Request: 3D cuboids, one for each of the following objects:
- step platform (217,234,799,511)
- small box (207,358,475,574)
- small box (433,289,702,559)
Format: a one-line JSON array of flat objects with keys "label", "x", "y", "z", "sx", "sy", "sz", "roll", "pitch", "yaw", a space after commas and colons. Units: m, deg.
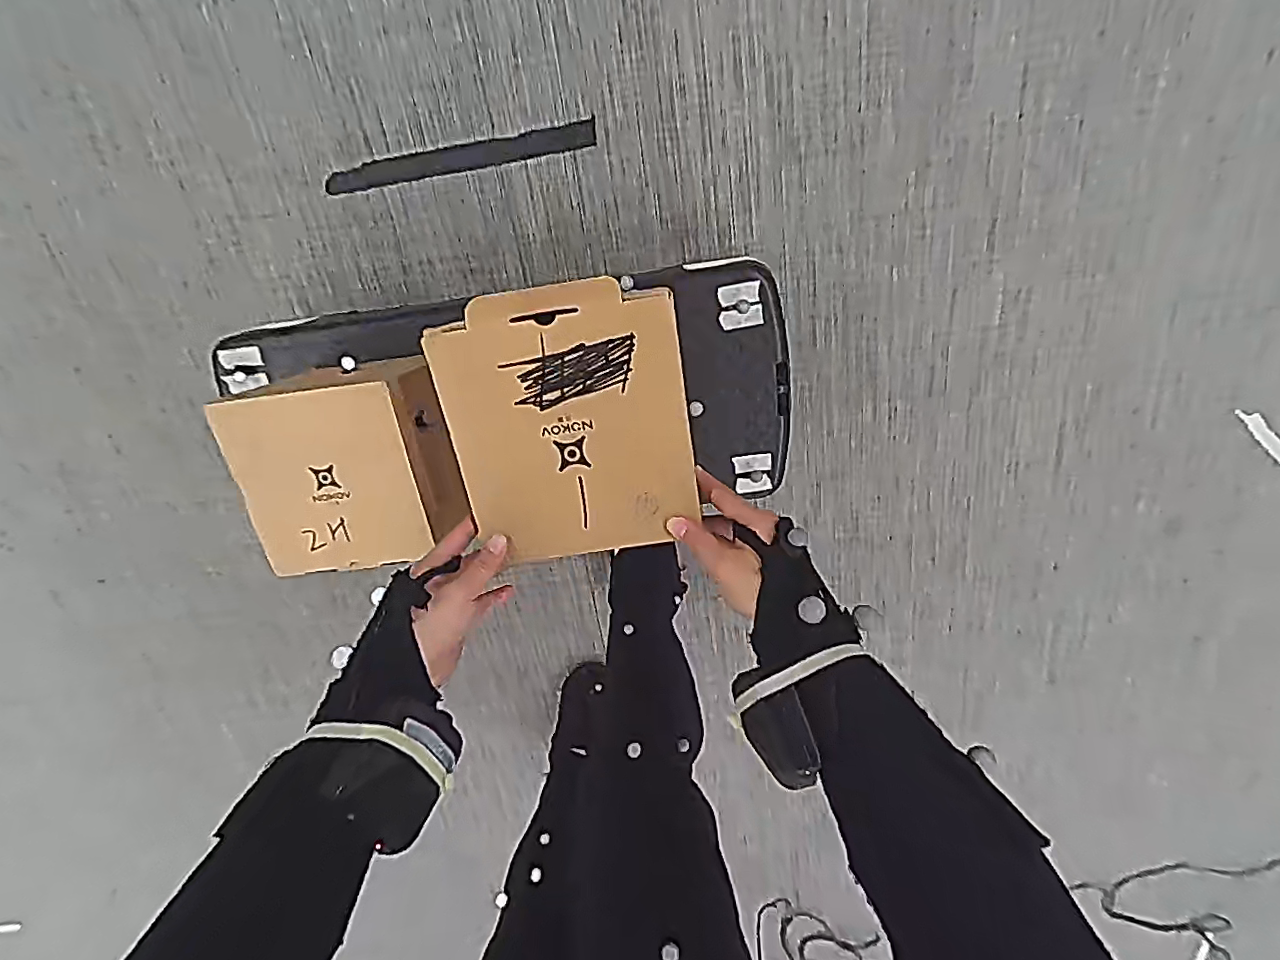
[{"label": "step platform", "x": -0.147, "y": -0.124, "z": 0.708, "sx": 0.684, "sy": 0.204, "sz": 0.286, "roll": -7, "pitch": 111, "yaw": 4}, {"label": "small box", "x": -0.279, "y": -0.026, "z": 0.560, "sx": 0.168, "sy": 0.176, "sz": 0.179, "roll": -6, "pitch": 111, "yaw": 3}, {"label": "small box", "x": -0.046, "y": -0.058, "z": 0.453, "sx": 0.168, "sy": 0.176, "sz": 0.179, "roll": -8, "pitch": 110, "yaw": 3}]
